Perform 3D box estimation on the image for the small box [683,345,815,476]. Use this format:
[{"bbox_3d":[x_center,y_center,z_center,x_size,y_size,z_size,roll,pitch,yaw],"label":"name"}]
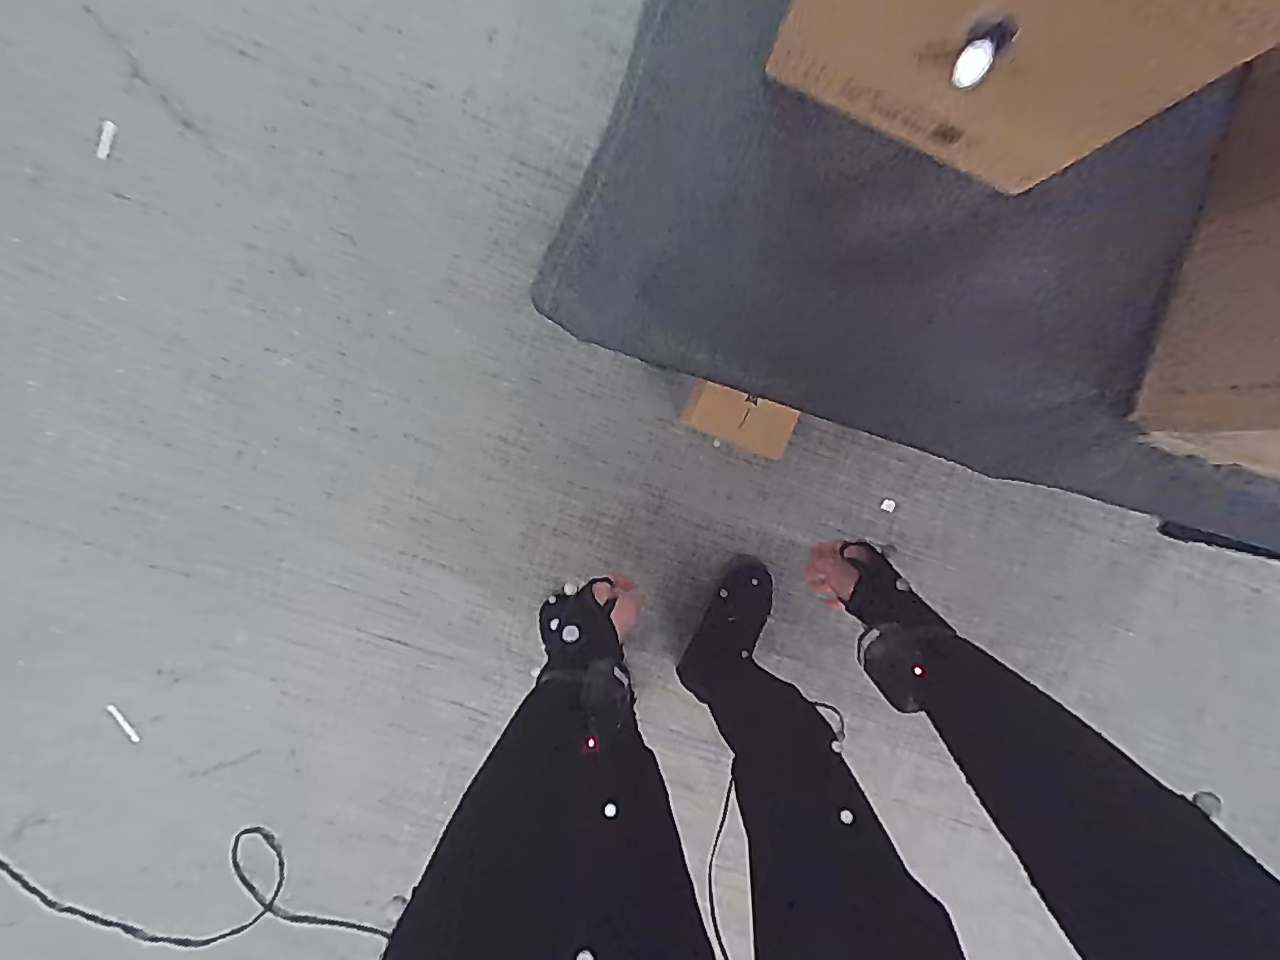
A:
[{"bbox_3d":[0.185,-0.123,0.980,0.168,0.176,0.179,22,96,-3],"label":"small box"}]
